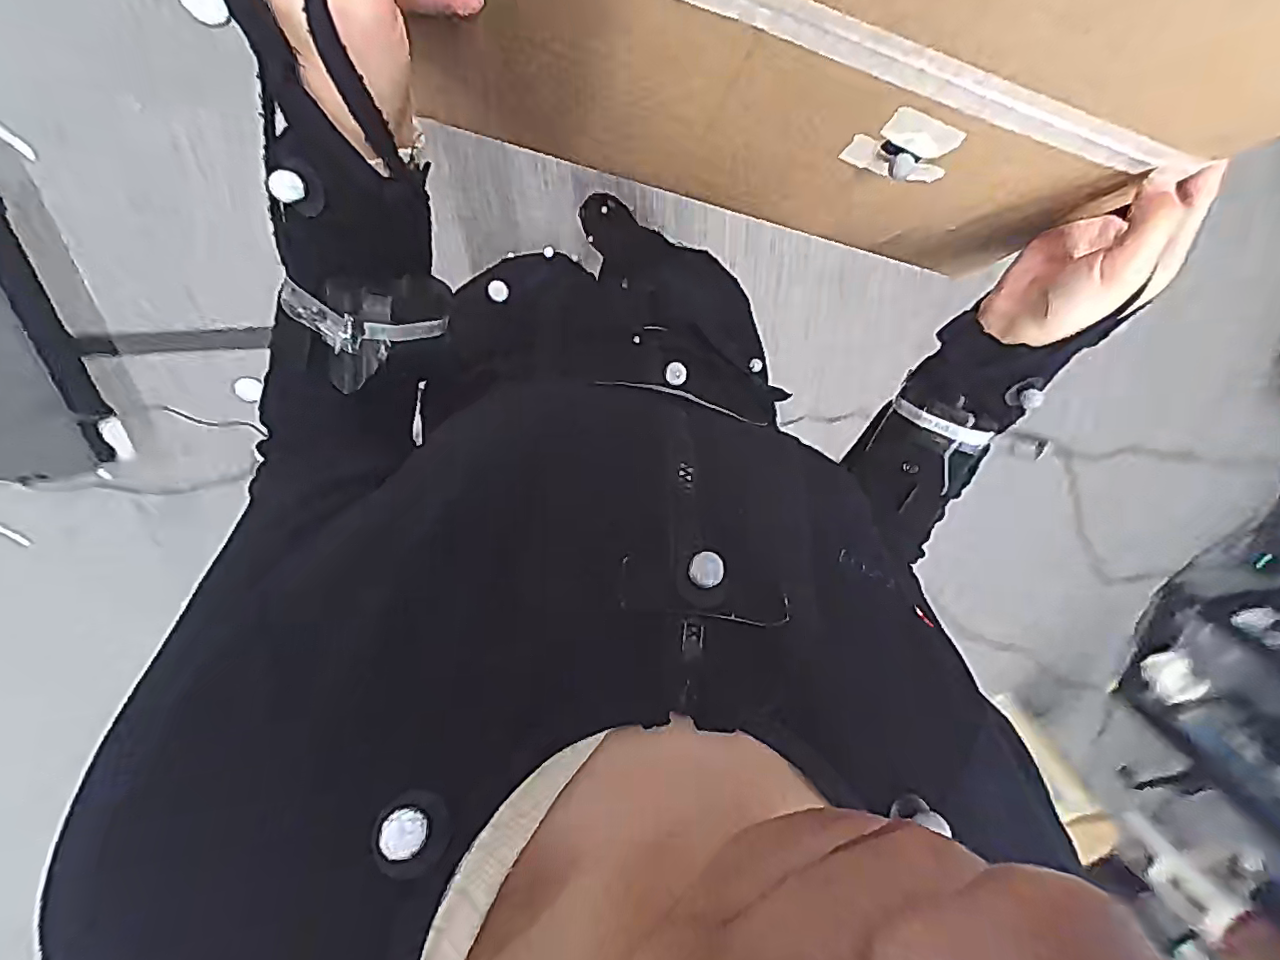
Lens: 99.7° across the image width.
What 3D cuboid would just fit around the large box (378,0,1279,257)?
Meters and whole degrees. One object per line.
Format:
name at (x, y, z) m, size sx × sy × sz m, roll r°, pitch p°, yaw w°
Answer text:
large box at (0.100, -0.346, 0.236) m, size 0.408 × 0.320 × 0.320 m, roll 7°, pitch 90°, yaw -13°
